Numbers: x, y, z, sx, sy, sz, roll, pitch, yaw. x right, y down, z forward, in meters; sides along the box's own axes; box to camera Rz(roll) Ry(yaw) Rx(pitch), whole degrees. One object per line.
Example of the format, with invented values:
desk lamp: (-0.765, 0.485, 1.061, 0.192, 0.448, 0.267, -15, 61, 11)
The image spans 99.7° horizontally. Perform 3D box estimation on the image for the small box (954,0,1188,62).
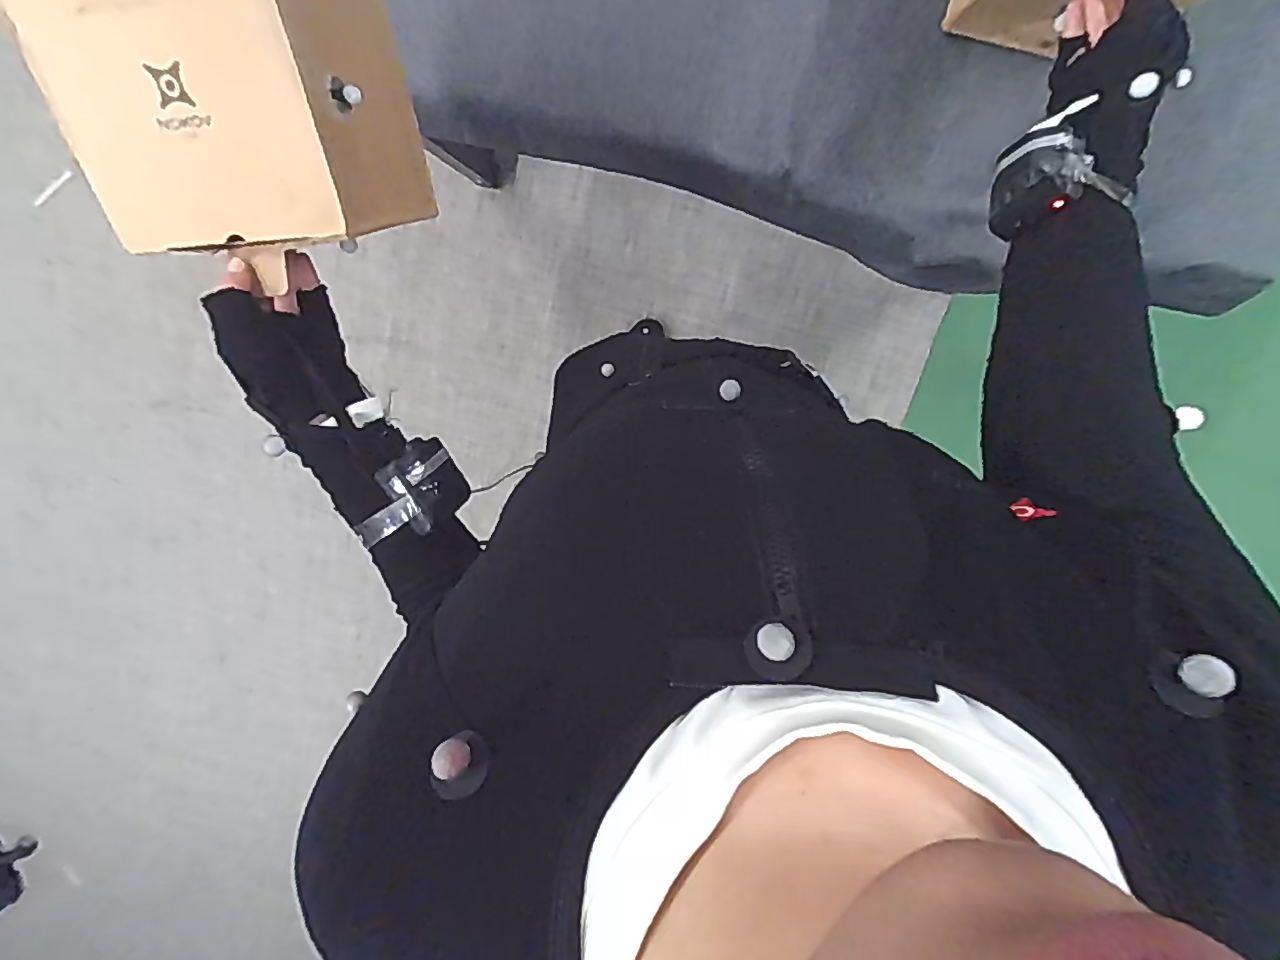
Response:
small box: (0.409, -0.505, 0.464, 0.168, 0.176, 0.179, 11, 107, -3)

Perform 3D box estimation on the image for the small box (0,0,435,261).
small box: (-0.273, -0.270, 0.393, 0.168, 0.176, 0.179, -4, 119, 4)
